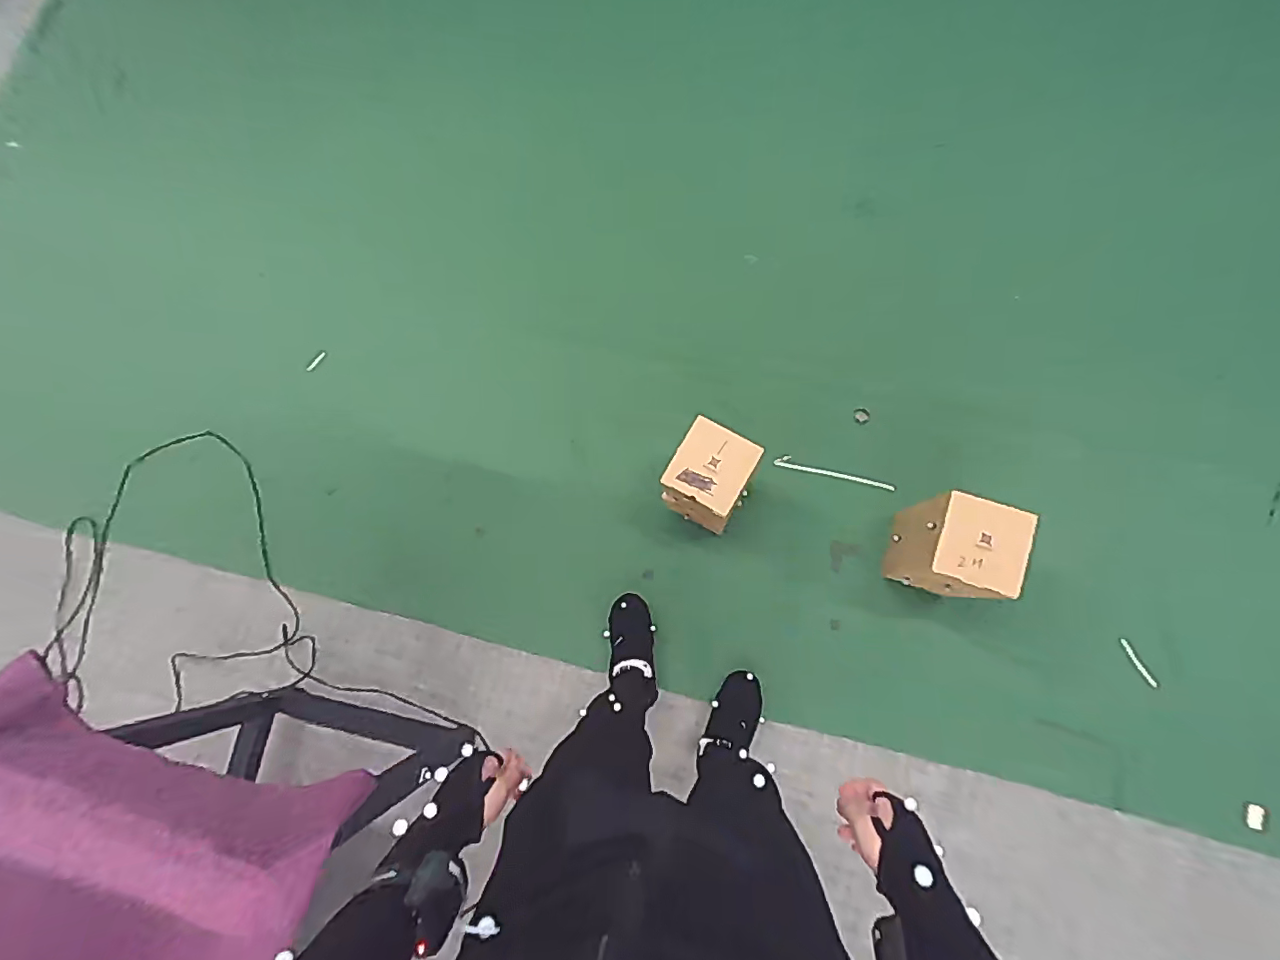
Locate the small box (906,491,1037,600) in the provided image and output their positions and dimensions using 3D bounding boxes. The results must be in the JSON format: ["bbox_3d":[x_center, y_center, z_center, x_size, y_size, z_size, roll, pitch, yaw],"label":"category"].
[{"bbox_3d":[0.690,0.143,1.145,0.168,0.176,0.179,18,82,10],"label":"small box"}]

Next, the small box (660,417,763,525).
[{"bbox_3d":[0.166,-0.012,1.244,0.168,0.176,0.179,30,84,11],"label":"small box"}]

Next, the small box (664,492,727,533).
[{"bbox_3d":[0.176,0.024,1.404,0.168,0.176,0.179,27,84,11],"label":"small box"}]
